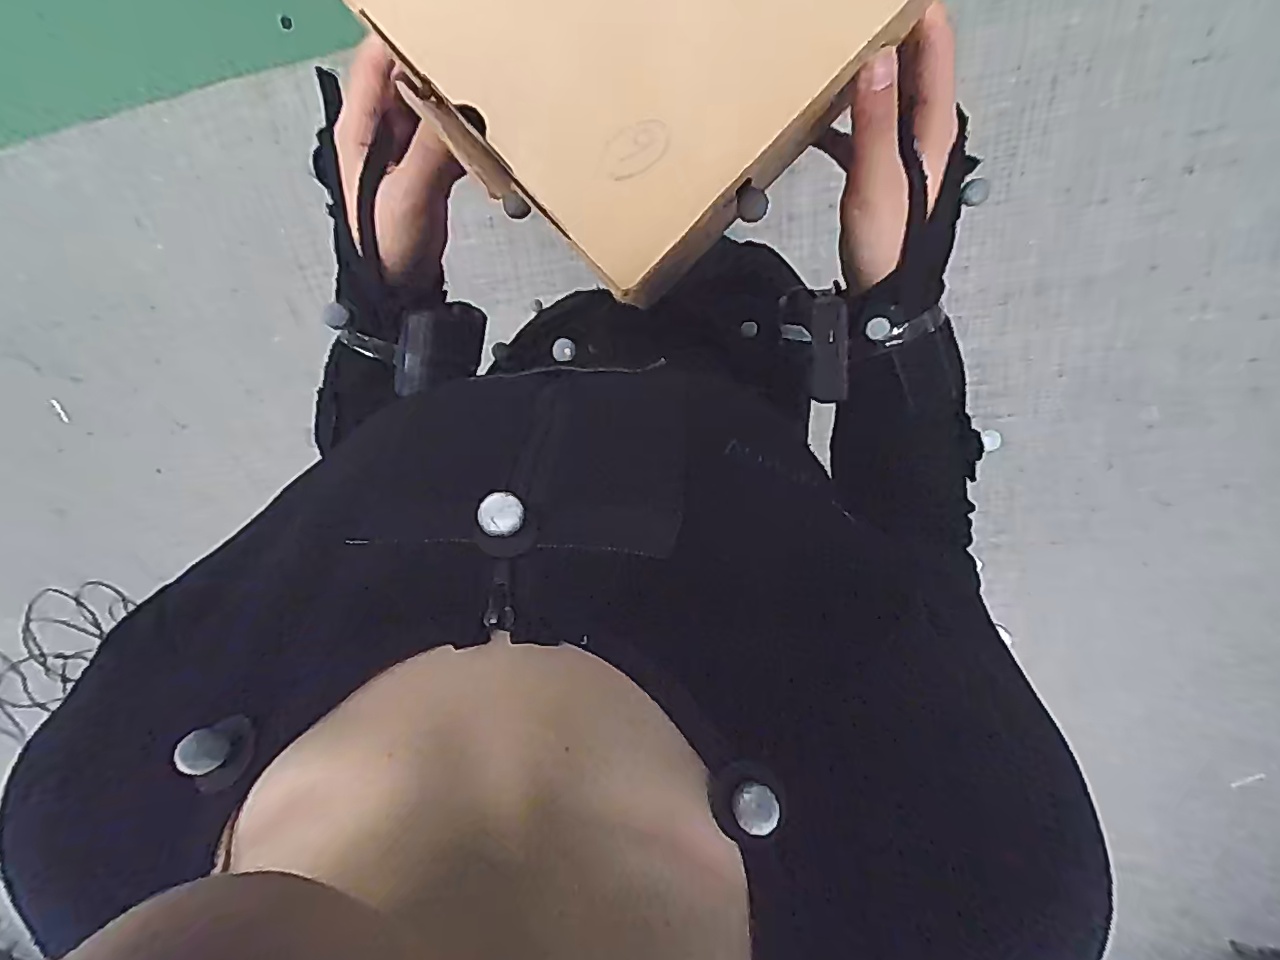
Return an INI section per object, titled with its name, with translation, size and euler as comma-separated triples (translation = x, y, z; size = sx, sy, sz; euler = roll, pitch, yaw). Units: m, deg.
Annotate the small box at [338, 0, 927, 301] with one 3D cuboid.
[small box]
translation = 0.007, -0.206, 0.264
size = 0.179, 0.176, 0.168
euler = -42, 99, 15
